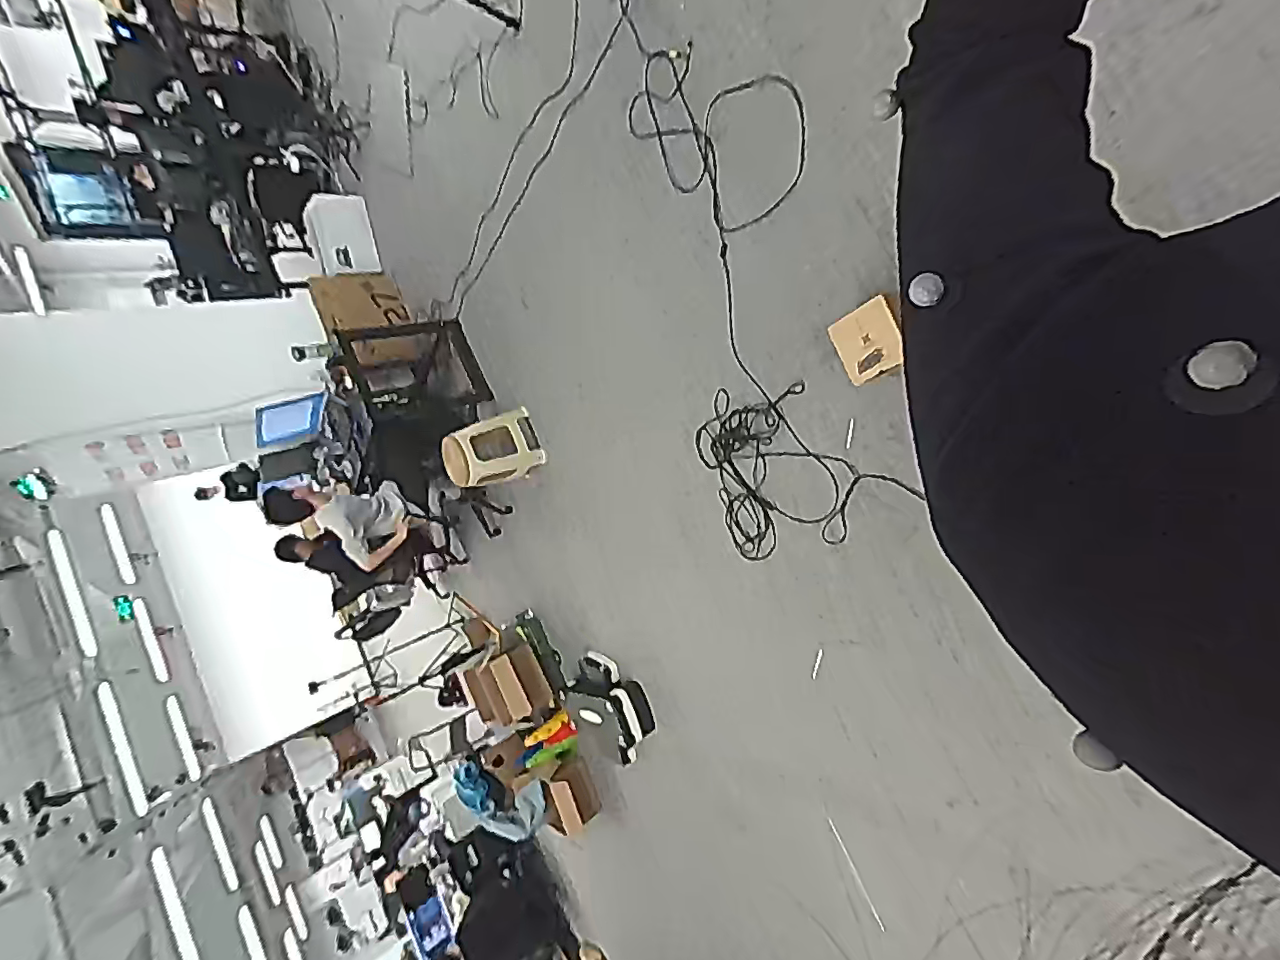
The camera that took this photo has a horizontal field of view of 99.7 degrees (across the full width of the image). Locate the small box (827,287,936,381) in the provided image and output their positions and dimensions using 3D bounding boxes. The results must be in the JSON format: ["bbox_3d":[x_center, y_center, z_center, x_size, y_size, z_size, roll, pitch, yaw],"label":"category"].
[{"bbox_3d":[0.629,-0.381,1.402,0.168,0.176,0.179,-29,82,52],"label":"small box"}]
